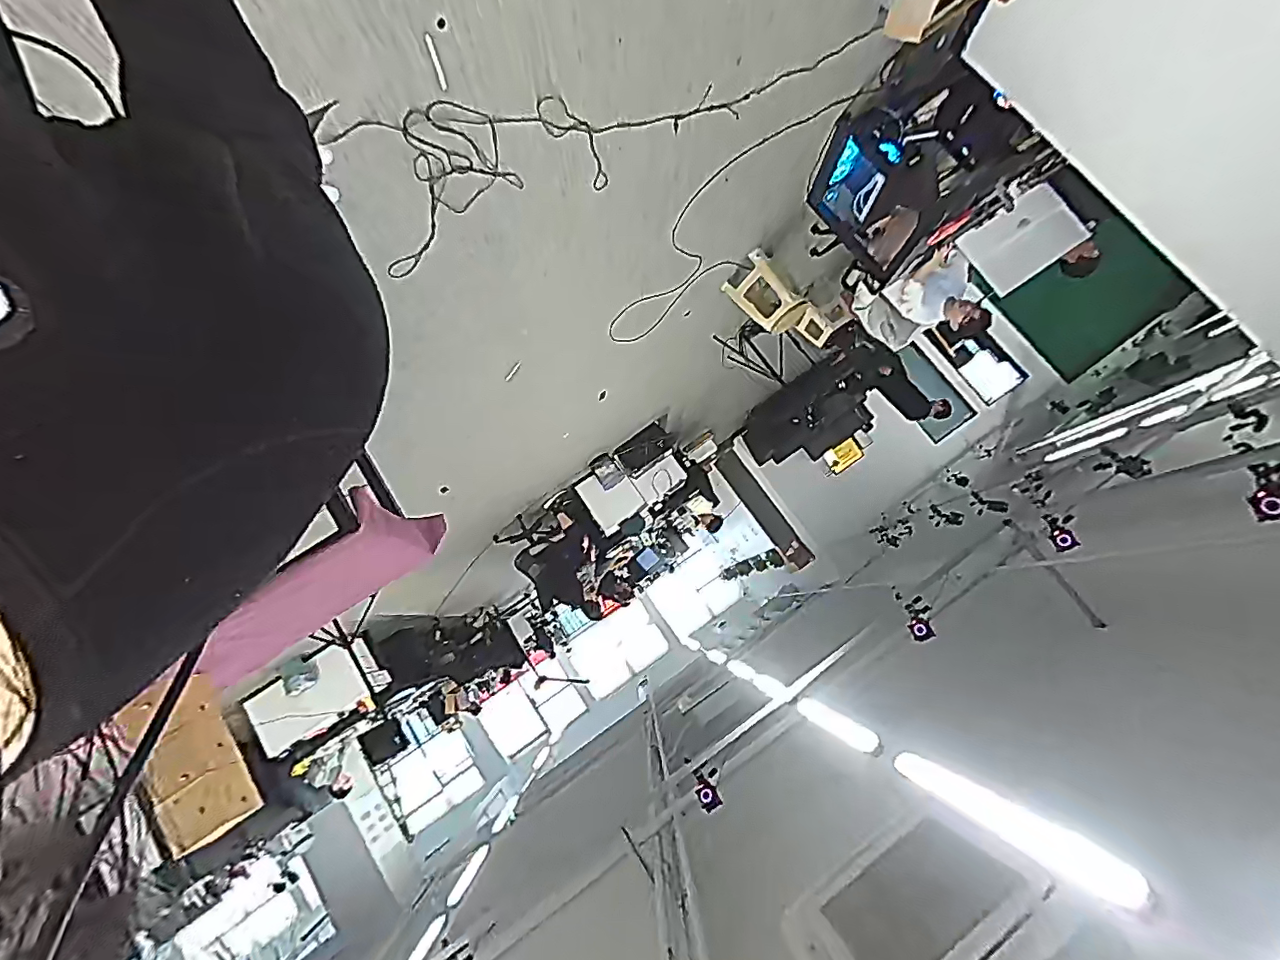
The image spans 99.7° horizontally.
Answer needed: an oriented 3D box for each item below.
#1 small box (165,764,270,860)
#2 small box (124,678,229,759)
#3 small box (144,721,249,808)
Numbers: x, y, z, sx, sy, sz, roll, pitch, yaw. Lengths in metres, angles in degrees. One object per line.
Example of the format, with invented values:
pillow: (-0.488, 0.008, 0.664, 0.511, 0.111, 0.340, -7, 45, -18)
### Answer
small box: (-1.318, 1.024, 1.687, 0.168, 0.176, 0.179, -34, 169, -14)
small box: (-1.506, 0.766, 1.762, 0.168, 0.176, 0.179, -34, 168, -12)
small box: (-1.412, 0.895, 1.726, 0.168, 0.176, 0.179, -34, 169, -14)
